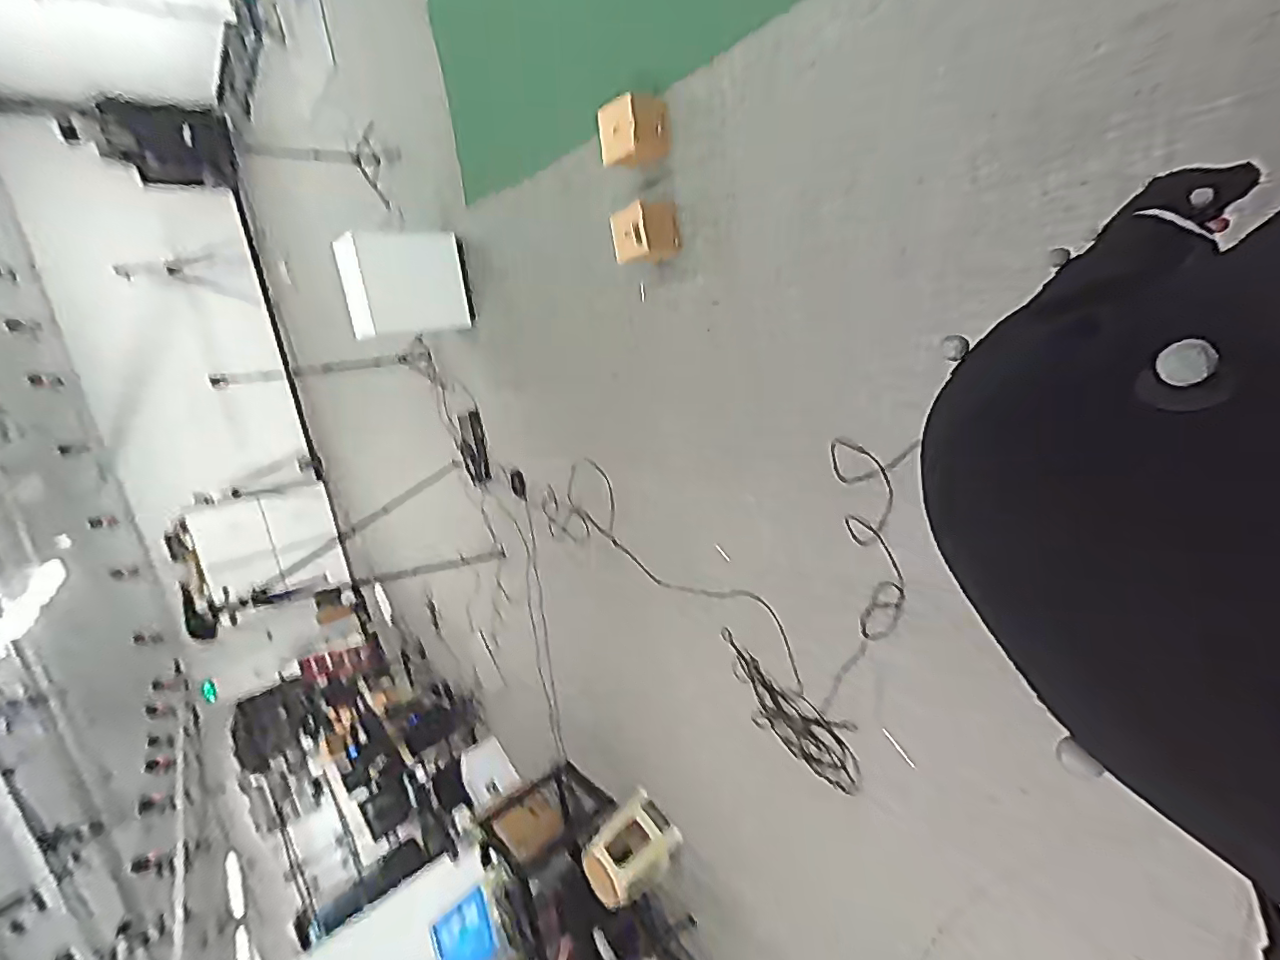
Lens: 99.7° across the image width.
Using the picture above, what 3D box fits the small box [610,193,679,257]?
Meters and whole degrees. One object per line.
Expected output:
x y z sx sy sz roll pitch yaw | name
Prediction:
0.023 -0.903 1.925 0.179 0.176 0.168 4 108 50 | small box

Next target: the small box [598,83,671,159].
-0.017 -1.214 1.845 0.179 0.176 0.168 11 114 47 | small box
